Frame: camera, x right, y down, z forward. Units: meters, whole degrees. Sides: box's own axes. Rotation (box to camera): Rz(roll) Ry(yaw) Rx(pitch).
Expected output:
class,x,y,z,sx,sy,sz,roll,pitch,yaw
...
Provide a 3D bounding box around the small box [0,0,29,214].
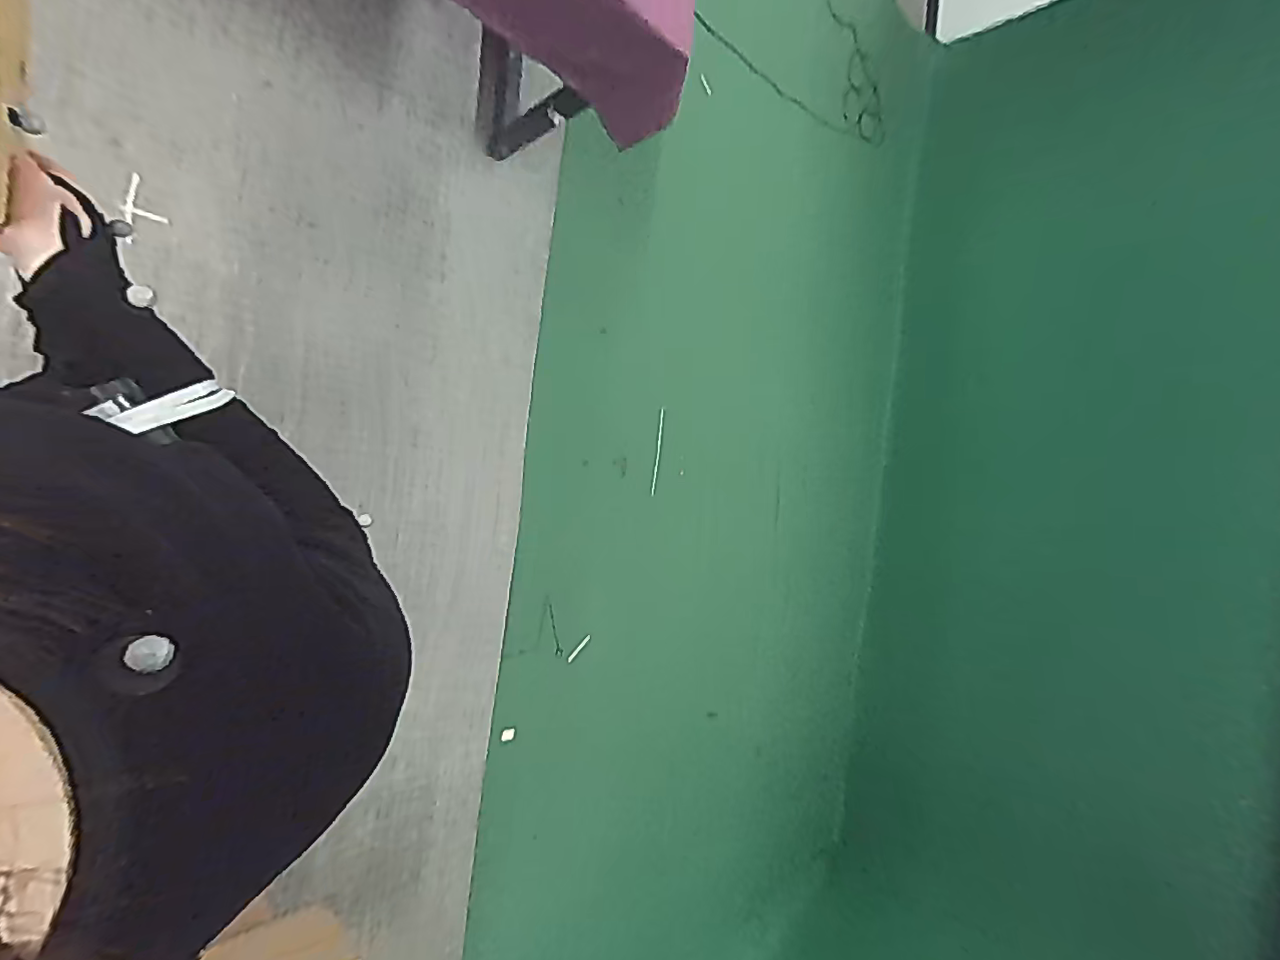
class,x,y,z,sx,sy,sz,roll,pitch,yaw
small box,-0.435,-0.242,0.259,0.179,0.176,0.168,1,105,-45
